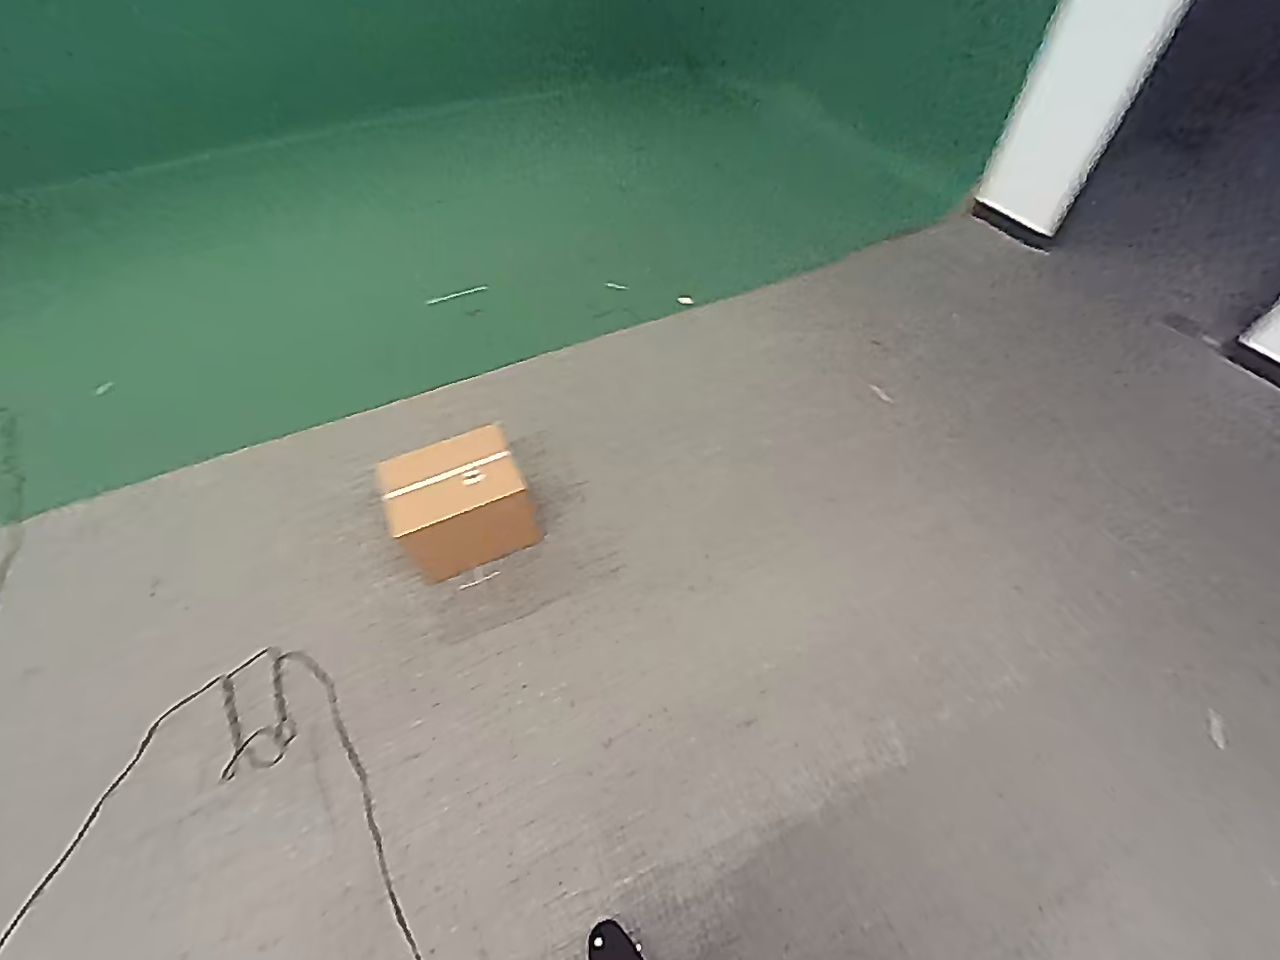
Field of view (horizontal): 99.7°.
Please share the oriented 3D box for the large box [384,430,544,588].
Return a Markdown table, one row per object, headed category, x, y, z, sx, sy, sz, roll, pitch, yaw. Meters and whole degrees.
| category | x | y | z | sx | sy | sz | roll | pitch | yaw |
| --- | --- | --- | --- | --- | --- | --- | --- | --- | --- |
| large box | -0.583 | 0.100 | 1.828 | 0.408 | 0.320 | 0.320 | -22 | 55 | -15 |
